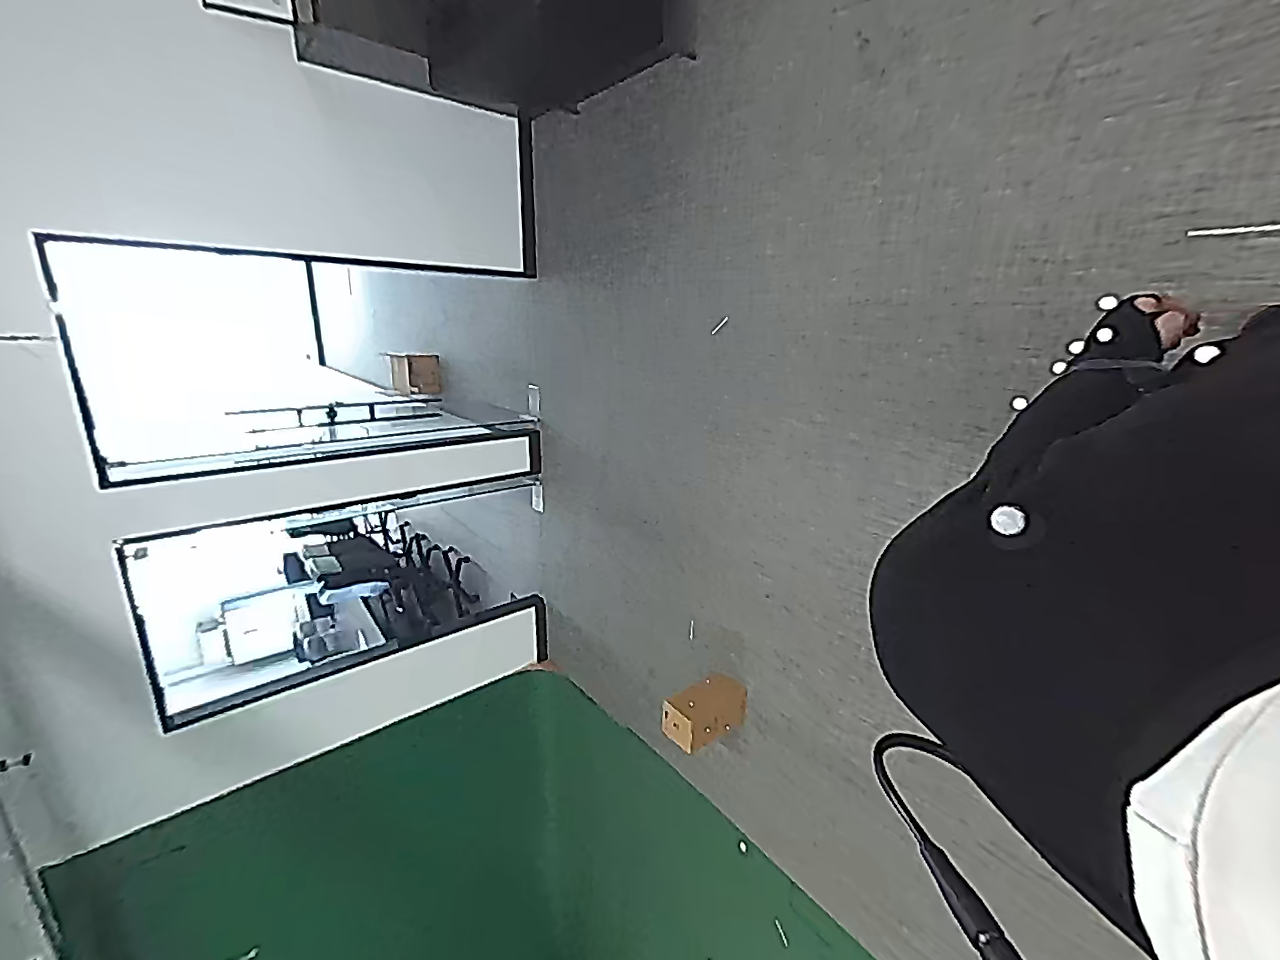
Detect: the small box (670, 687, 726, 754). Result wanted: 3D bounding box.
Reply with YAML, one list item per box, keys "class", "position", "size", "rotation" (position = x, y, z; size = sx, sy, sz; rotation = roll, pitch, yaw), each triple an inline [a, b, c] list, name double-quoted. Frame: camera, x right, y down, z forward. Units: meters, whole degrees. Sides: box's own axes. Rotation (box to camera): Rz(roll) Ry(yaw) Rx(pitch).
- class: "small box"
  position: [0.249, 1.018, 2.310]
  size: [0.179, 0.176, 0.168]
  rotation: [21, 114, 48]
